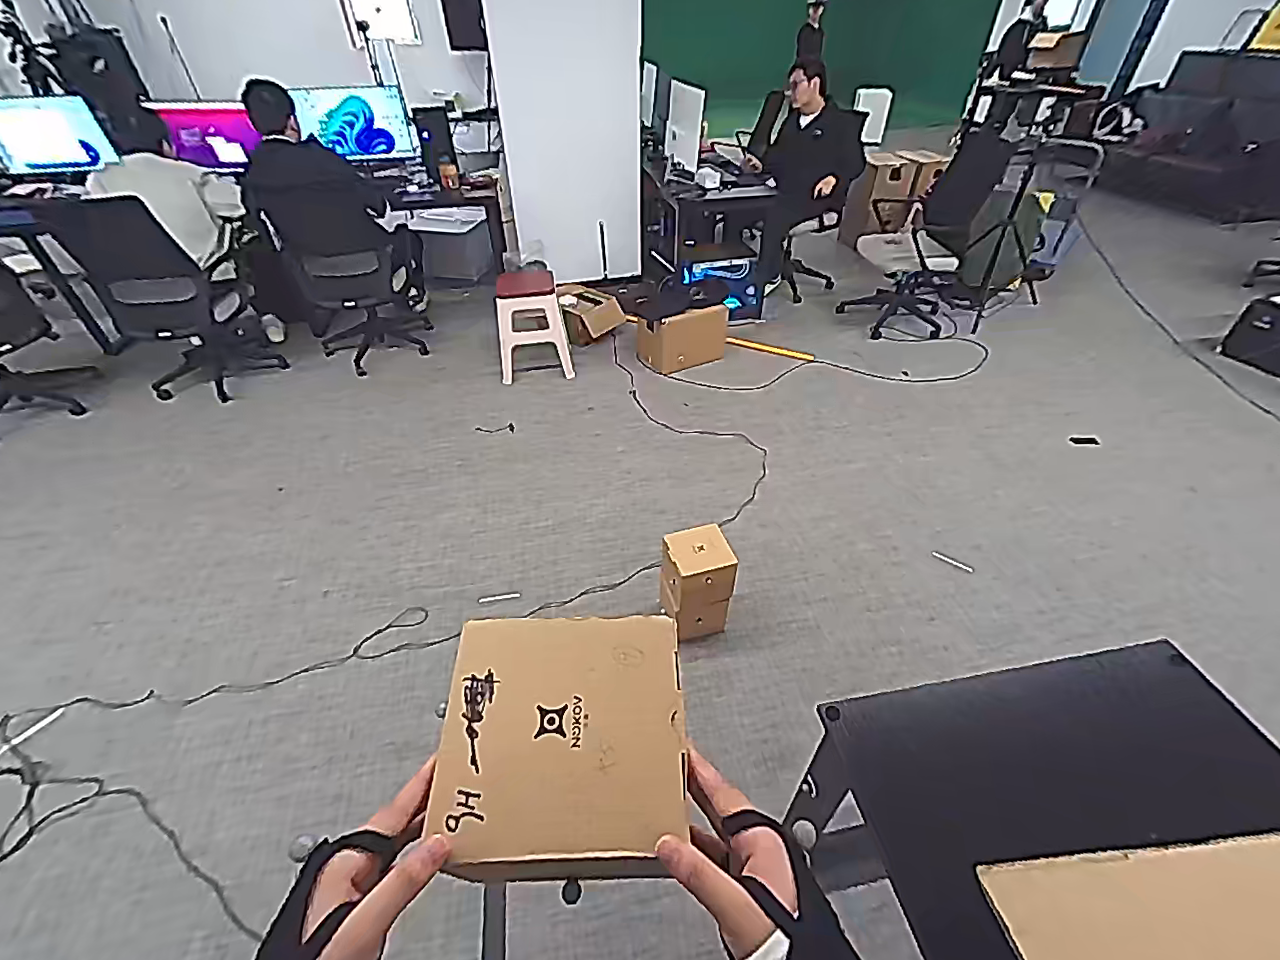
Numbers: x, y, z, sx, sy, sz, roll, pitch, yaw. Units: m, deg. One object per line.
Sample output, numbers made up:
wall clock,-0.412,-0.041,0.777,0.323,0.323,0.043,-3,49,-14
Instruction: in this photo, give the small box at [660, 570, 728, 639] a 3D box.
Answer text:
small box,0.167,0.388,1.740,0.179,0.176,0.168,-11,42,-10

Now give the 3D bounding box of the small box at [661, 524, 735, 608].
small box,0.170,0.264,1.635,0.179,0.176,0.168,-11,43,-13

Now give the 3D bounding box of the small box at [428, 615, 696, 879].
small box,-0.055,0.229,0.460,0.179,0.176,0.168,0,49,-2
